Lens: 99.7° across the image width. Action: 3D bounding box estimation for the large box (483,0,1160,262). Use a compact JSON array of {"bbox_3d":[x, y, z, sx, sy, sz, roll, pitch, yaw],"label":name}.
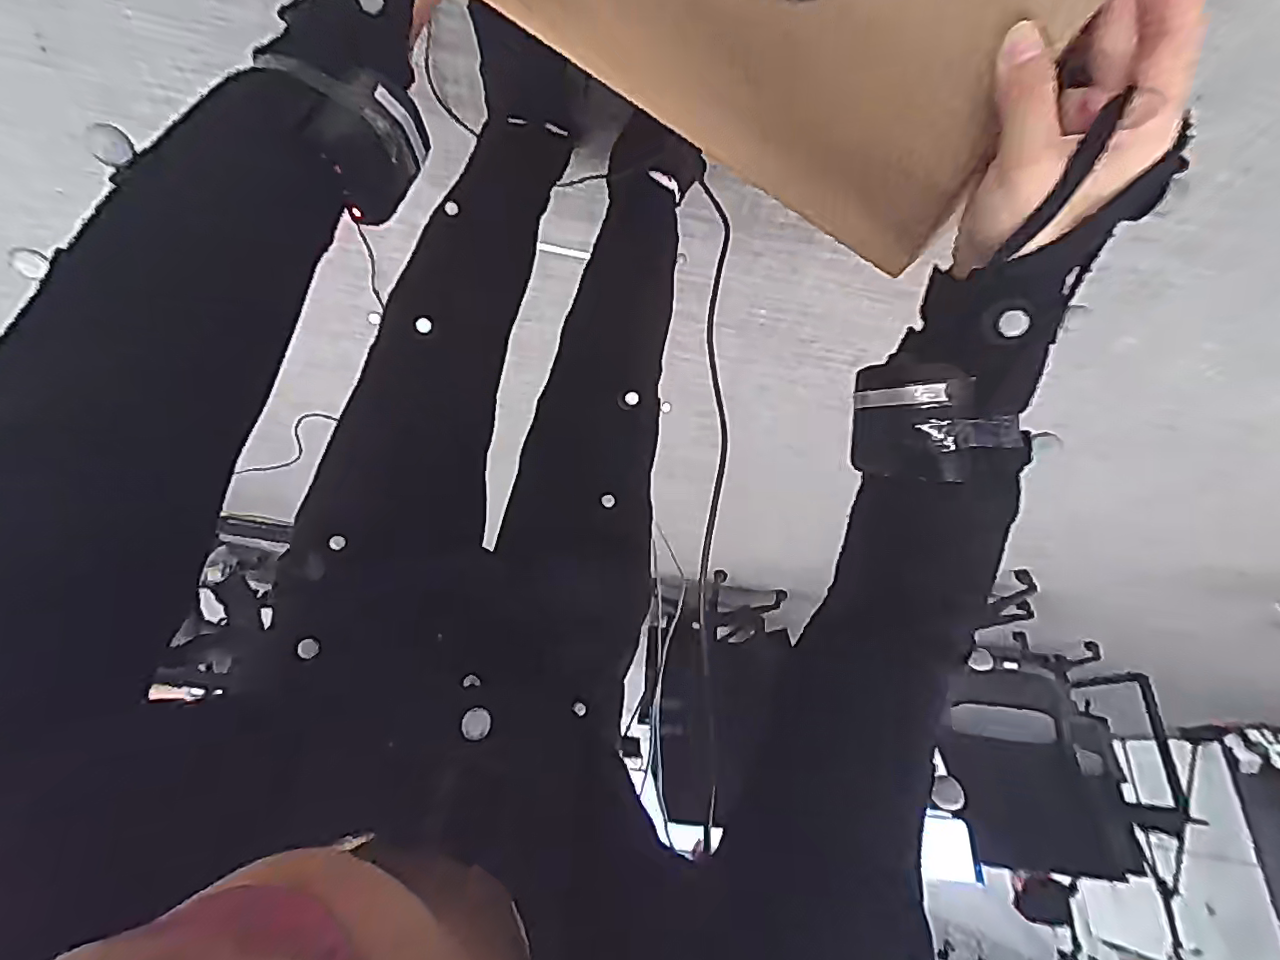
[{"bbox_3d":[0.141,-0.414,0.314,0.408,0.320,0.320,41,151,13],"label":"large box"}]
